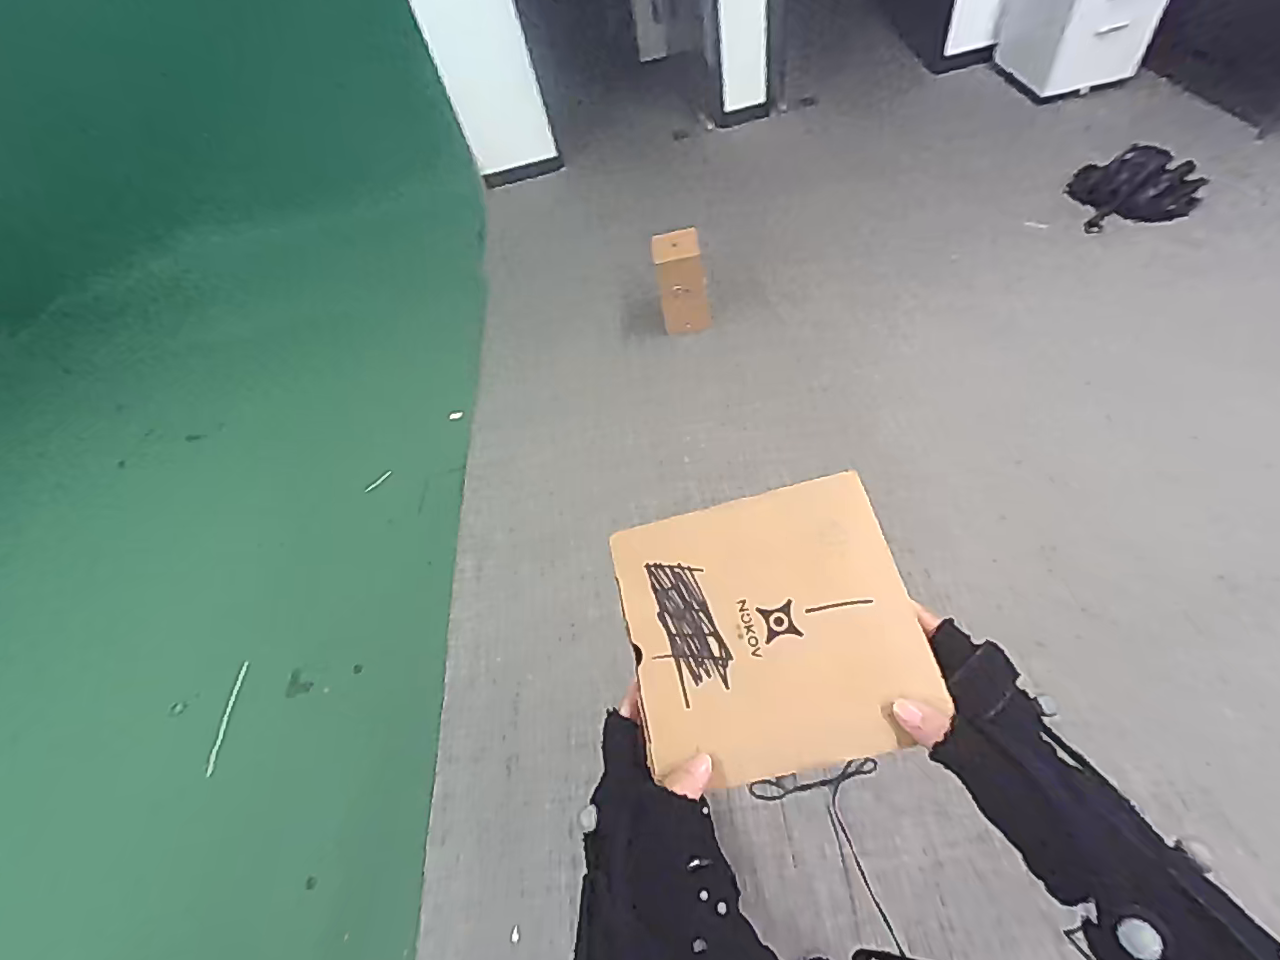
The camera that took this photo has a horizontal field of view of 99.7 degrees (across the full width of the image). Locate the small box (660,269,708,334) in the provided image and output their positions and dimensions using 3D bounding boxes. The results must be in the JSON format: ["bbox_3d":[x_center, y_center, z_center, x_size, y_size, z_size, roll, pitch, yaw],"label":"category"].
[{"bbox_3d":[0.175,-0.700,2.128,0.179,0.176,0.168,-8,54,8],"label":"small box"}]

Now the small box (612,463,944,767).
[{"bbox_3d":[0.092,0.110,0.420,0.179,0.176,0.168,-15,67,5],"label":"small box"}]

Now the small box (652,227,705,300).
[{"bbox_3d":[0.142,-0.797,2.001,0.168,0.176,0.179,-10,55,9],"label":"small box"}]
